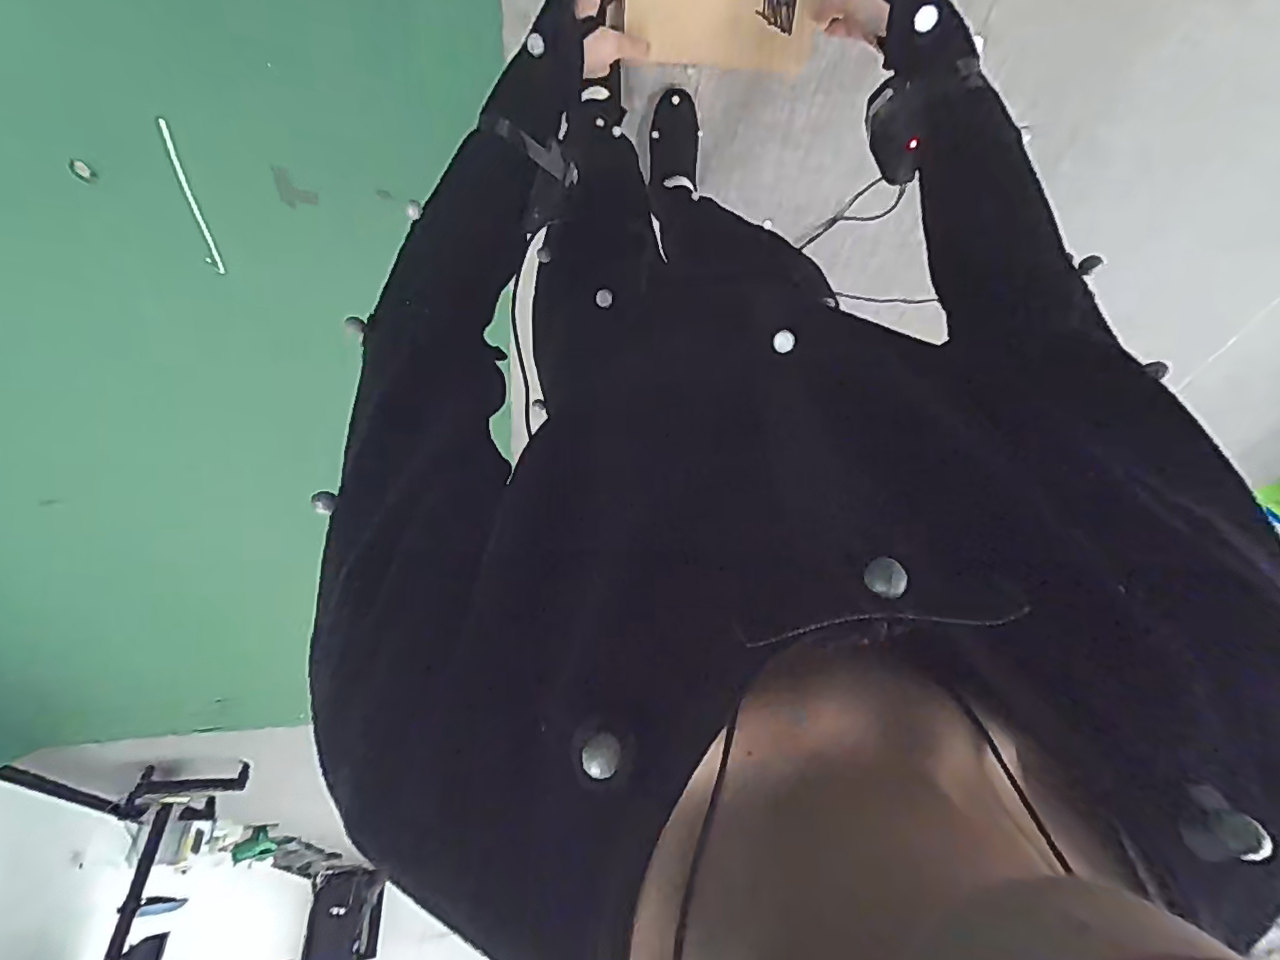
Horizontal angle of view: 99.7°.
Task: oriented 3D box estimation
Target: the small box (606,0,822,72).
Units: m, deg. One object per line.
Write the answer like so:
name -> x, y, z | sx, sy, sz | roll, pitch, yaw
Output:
small box -> 0.065, -0.491, 0.494 | 0.179, 0.176, 0.168 | -1, 132, -8

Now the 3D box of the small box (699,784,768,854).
small box -> 0.317, 1.171, 1.877 | 0.168, 0.176, 0.179 | 3, 136, -15
